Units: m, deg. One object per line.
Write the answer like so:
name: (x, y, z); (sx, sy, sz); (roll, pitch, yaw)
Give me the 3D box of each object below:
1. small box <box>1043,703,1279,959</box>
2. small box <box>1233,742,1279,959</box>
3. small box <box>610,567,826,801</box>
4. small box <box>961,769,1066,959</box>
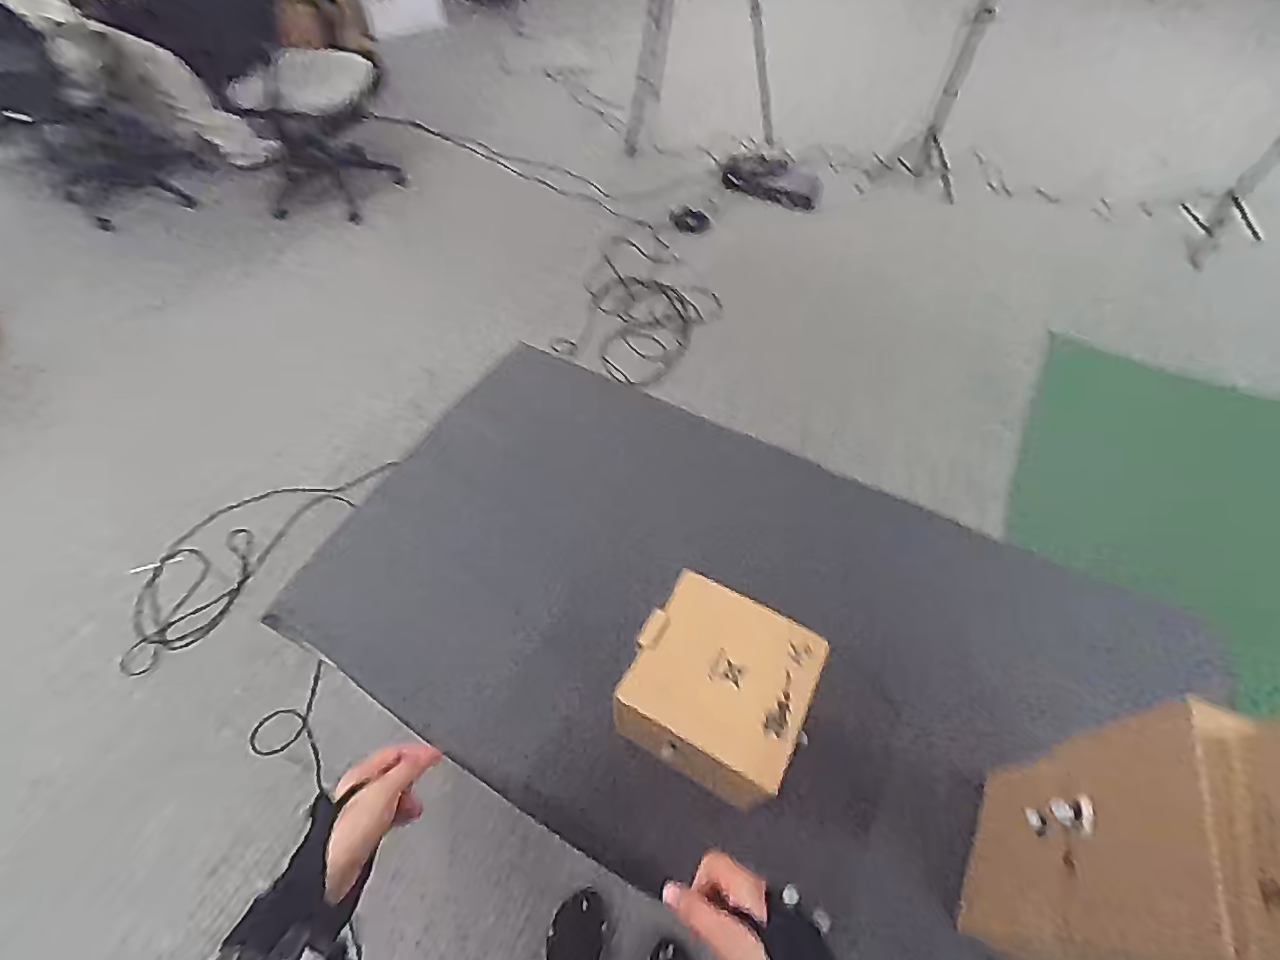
small box: (0.432, 0.293, 0.383); (0.179, 0.176, 0.168); (21, 54, 15)
small box: (0.437, 0.214, 0.236); (0.179, 0.176, 0.168); (26, 55, 17)
small box: (0.082, 0.237, 0.619); (0.179, 0.176, 0.168); (26, 57, 17)
small box: (0.439, 0.395, 0.509); (0.168, 0.176, 0.179); (28, 58, 19)
